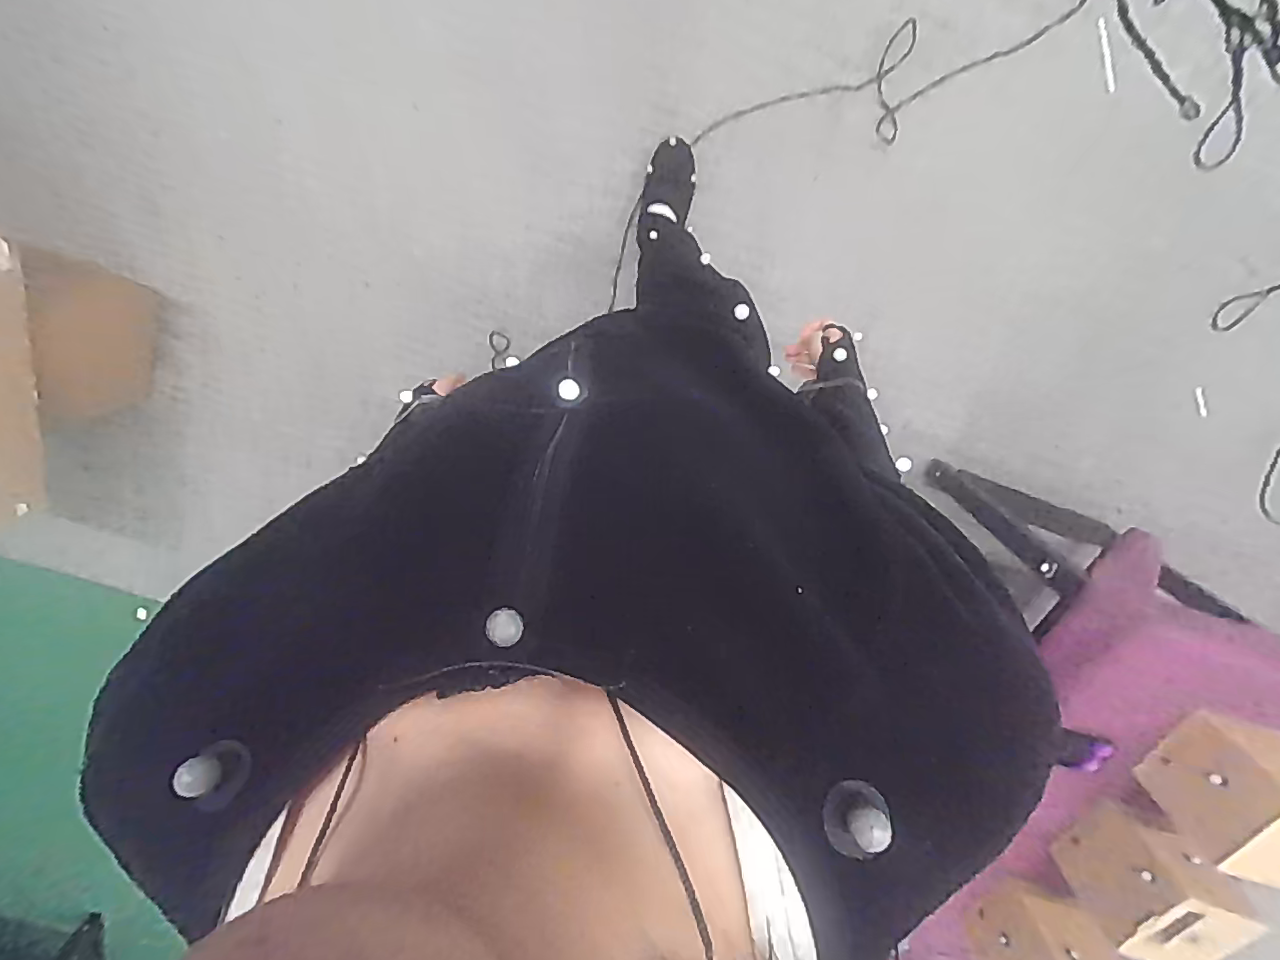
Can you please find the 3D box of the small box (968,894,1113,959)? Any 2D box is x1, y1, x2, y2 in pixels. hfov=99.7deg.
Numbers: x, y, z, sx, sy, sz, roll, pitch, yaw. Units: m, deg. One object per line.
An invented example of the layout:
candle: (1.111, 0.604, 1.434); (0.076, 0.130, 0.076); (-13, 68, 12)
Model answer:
small box: (0.778, 0.936, 1.029); (0.179, 0.176, 0.168); (23, 113, -7)

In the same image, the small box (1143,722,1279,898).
small box: (0.962, 0.510, 0.841); (0.179, 0.176, 0.168); (17, 113, -5)
